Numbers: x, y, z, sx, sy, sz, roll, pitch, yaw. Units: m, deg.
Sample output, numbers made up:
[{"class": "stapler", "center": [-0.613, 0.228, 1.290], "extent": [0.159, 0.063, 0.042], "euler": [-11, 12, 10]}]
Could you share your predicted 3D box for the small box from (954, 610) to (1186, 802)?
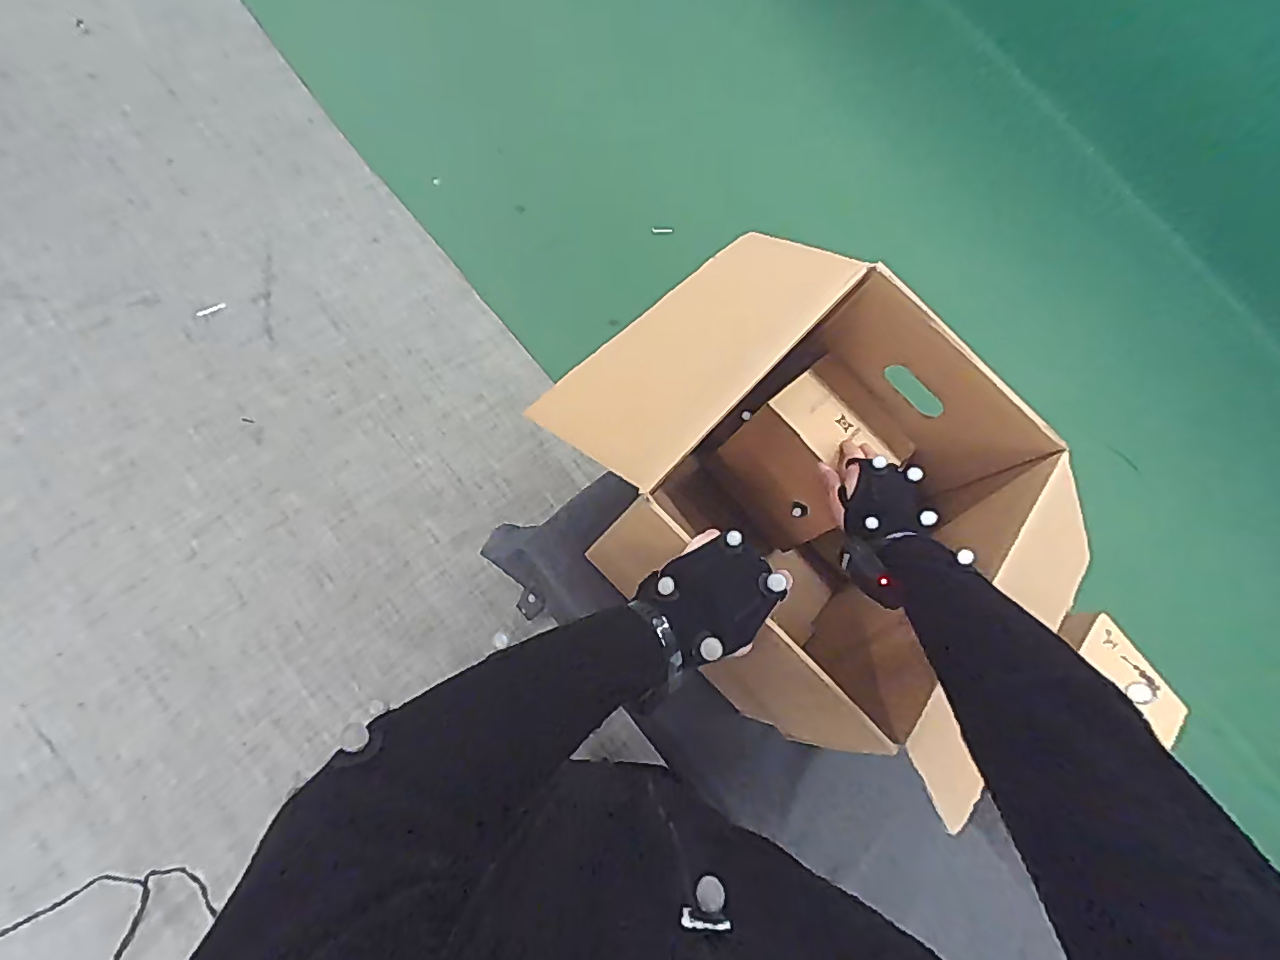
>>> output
[{"class": "small box", "center": [0.592, 0.308, 0.769], "extent": [0.179, 0.176, 0.168], "euler": [-35, 85, -21]}]
